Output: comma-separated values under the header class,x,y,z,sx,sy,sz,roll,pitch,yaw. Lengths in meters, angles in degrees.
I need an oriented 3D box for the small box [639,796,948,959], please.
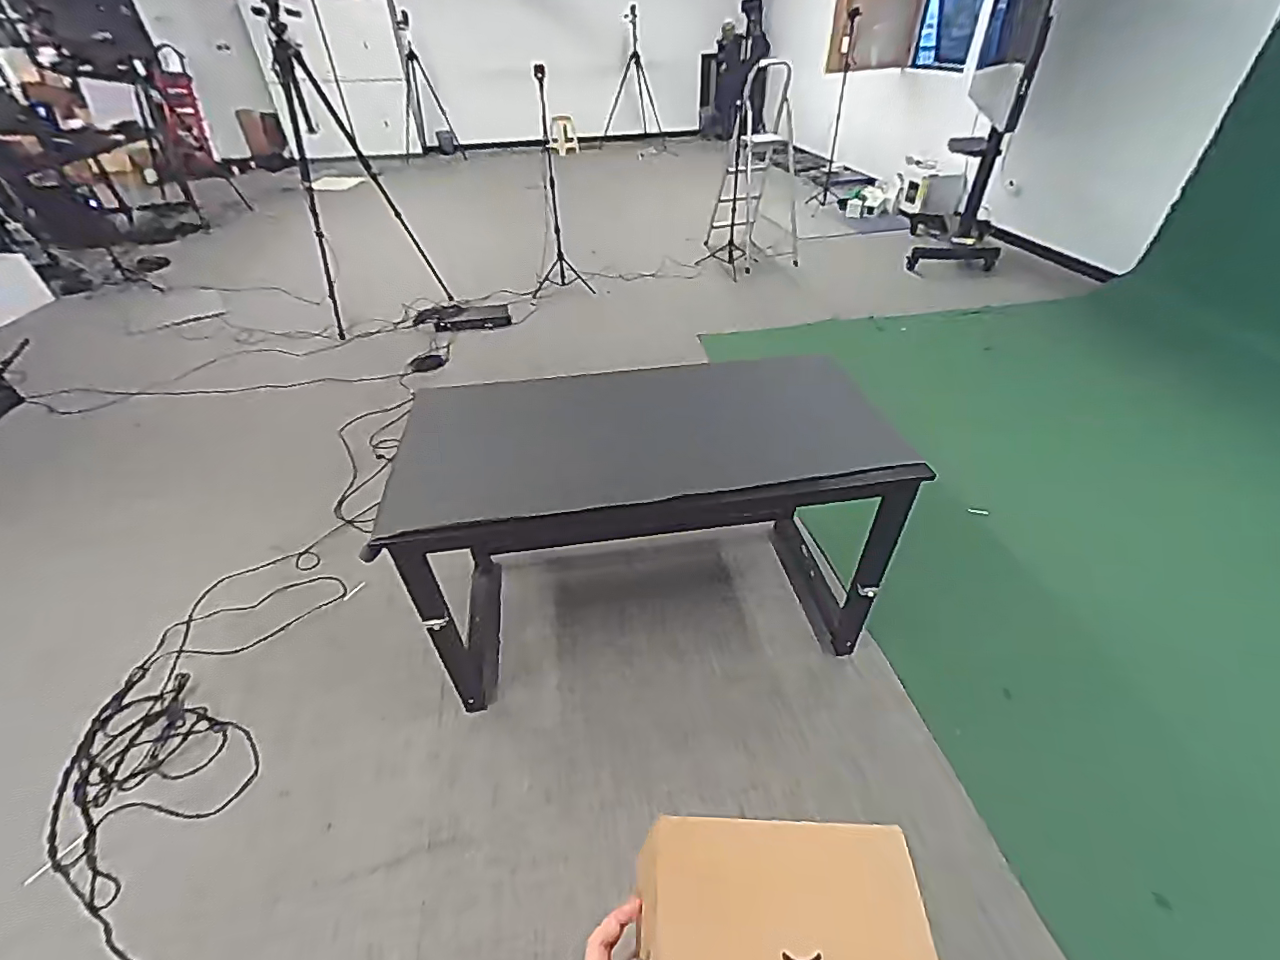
class,x,y,z,sx,sy,sz,roll,pitch,yaw
small box,0.086,0.331,0.351,0.168,0.176,0.179,5,46,-2
